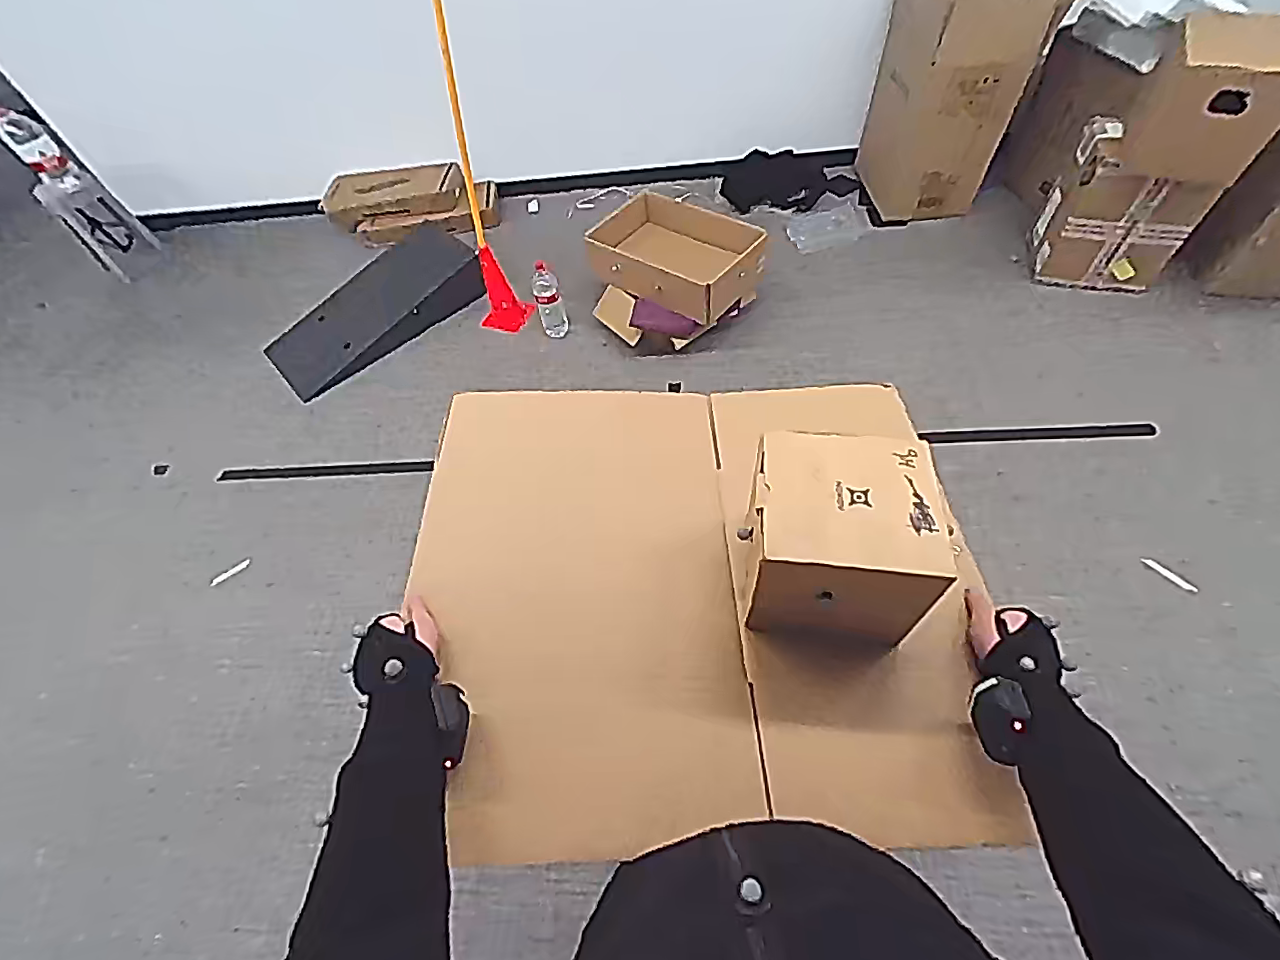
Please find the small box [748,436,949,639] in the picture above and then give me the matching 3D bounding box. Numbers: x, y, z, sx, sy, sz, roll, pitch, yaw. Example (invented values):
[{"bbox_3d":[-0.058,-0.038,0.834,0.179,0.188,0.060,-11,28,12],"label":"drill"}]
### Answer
[{"bbox_3d":[0.216,0.069,0.615,0.179,0.176,0.168,4,54,9],"label":"small box"}]
